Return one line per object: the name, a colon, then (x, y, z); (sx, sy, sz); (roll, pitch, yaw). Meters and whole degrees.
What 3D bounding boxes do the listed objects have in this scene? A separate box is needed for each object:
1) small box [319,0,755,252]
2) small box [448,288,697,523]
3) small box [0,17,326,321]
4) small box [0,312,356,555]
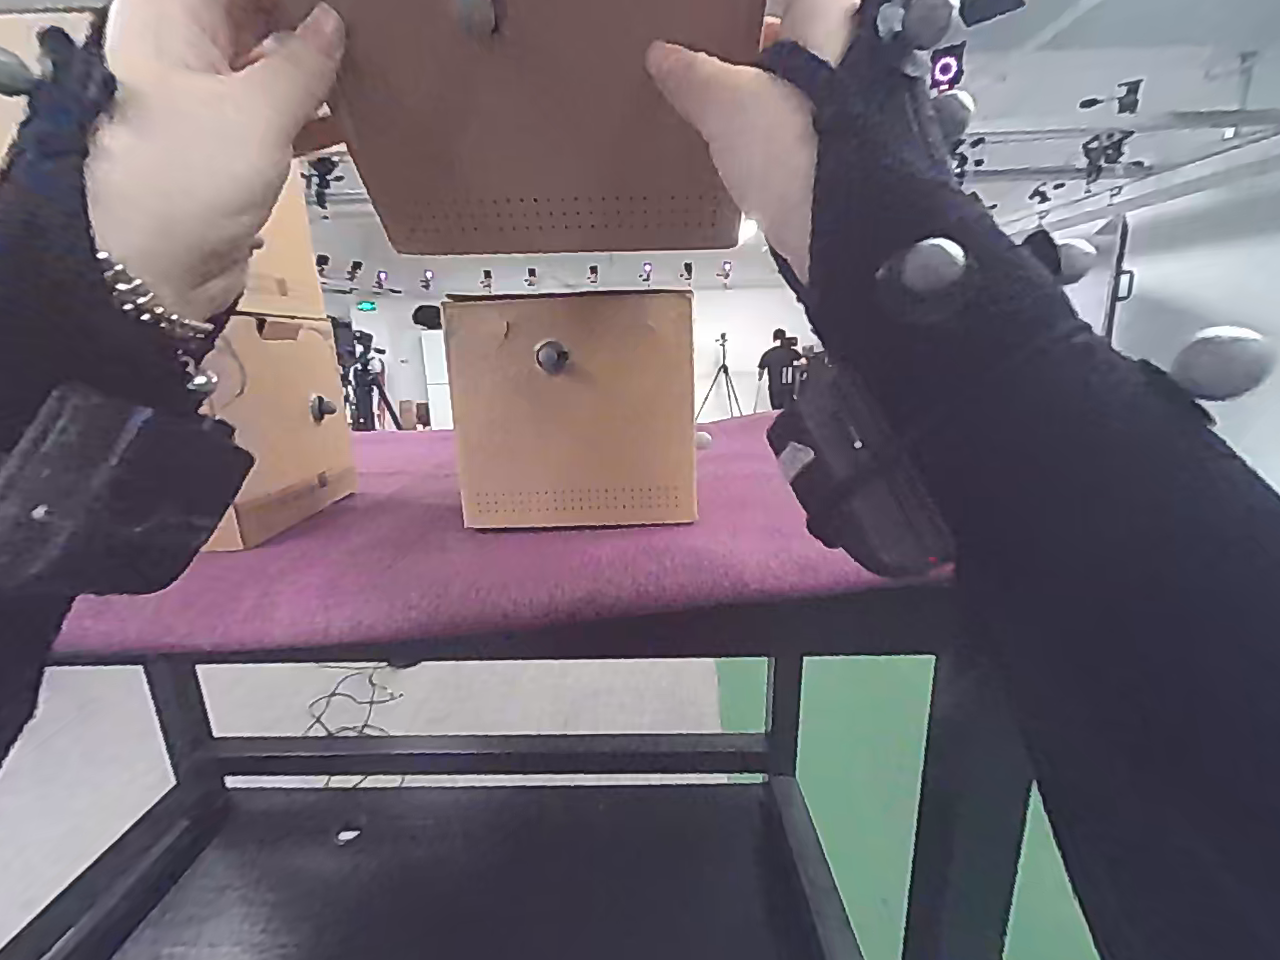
small box: (-0.038, -0.228, 0.259); (0.179, 0.176, 0.168); (0, 56, 3)
small box: (-0.043, -0.062, 0.468); (0.179, 0.176, 0.168); (-1, 12, 3)
small box: (-0.377, -0.203, 0.412); (0.179, 0.176, 0.168); (-2, 13, -2)
small box: (-0.366, -0.044, 0.448); (0.179, 0.176, 0.168); (-3, 13, 0)
